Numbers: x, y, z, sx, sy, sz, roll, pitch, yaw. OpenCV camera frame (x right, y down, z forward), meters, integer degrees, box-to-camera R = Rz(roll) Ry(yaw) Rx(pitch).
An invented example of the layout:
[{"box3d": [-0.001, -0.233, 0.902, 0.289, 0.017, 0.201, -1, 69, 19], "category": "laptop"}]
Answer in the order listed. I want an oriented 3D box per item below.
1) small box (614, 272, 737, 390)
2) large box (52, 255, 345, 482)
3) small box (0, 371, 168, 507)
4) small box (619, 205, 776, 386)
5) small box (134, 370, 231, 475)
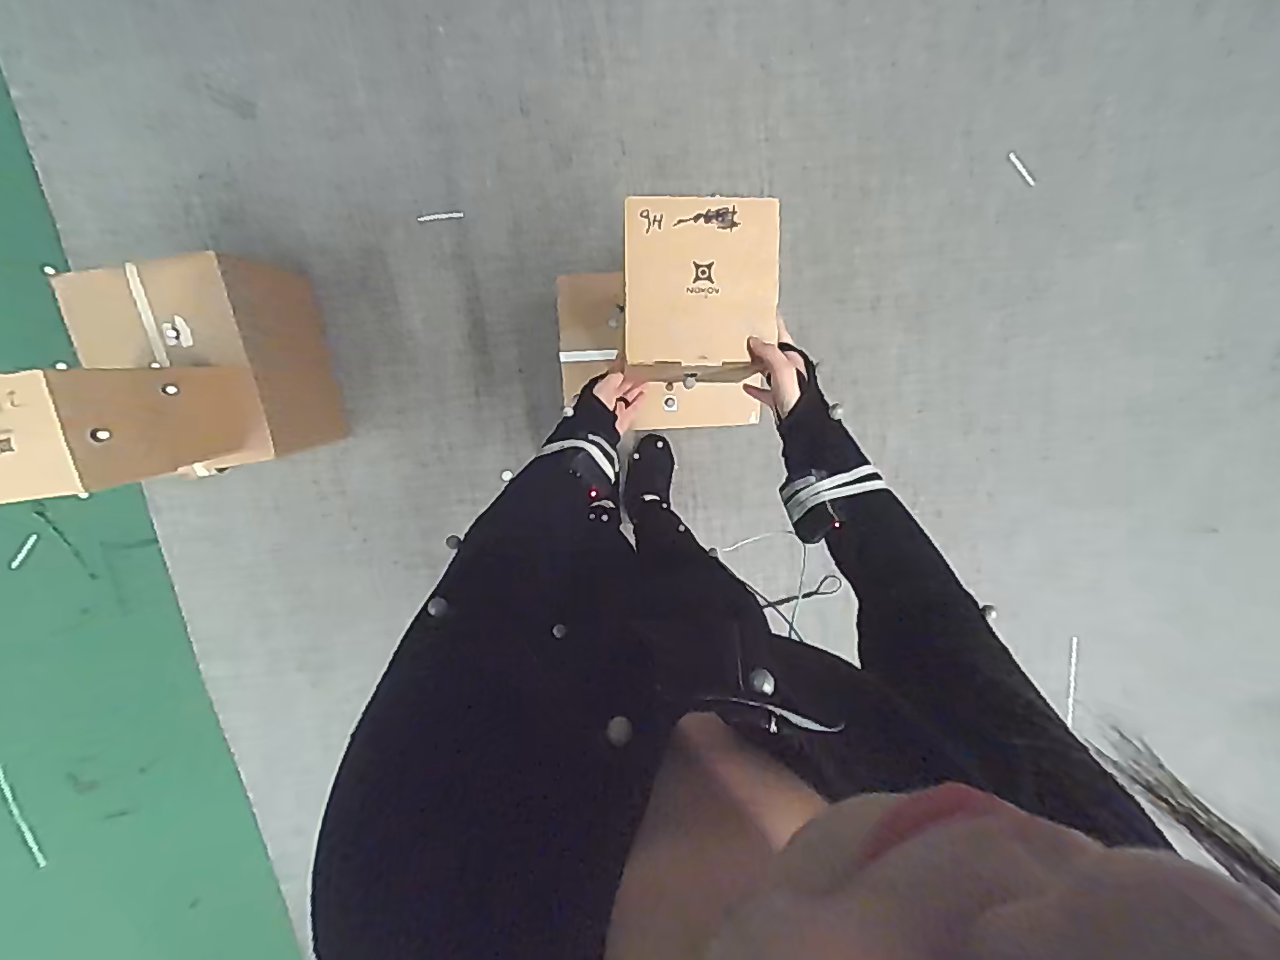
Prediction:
[{"box3d": [0.052, -0.225, 0.827, 0.179, 0.176, 0.168, 2, 99, -3], "category": "small box"}, {"box3d": [-0.920, -0.234, 1.191, 0.320, 0.320, 0.408, -9, 101, -1], "category": "large box"}, {"box3d": [-0.868, -0.067, 0.811, 0.168, 0.176, 0.179, -7, 101, -2], "category": "small box"}, {"box3d": [0.059, -0.208, 0.656, 0.168, 0.176, 0.179, 0, 95, -3], "category": "small box"}, {"box3d": [-0.885, -0.102, 0.971, 0.168, 0.176, 0.179, -7, 101, -2], "category": "small box"}]
